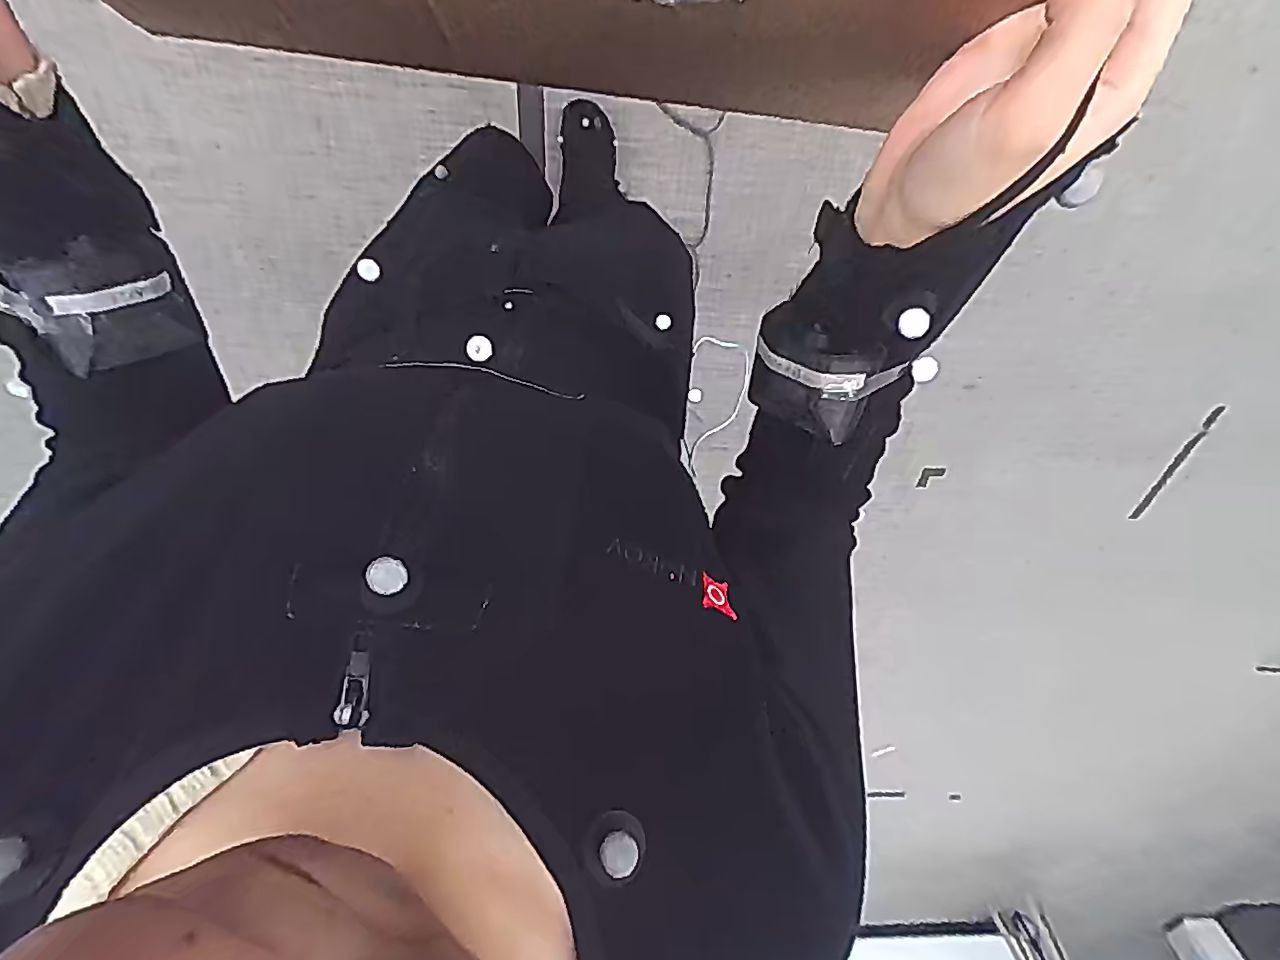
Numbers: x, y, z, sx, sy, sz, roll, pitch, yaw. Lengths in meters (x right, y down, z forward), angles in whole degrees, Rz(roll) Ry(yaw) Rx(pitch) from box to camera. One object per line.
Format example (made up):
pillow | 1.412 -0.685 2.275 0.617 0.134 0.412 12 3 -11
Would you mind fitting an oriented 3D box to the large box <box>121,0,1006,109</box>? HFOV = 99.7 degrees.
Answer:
large box | -0.041 -0.342 0.119 0.408 0.320 0.320 5 101 -2
